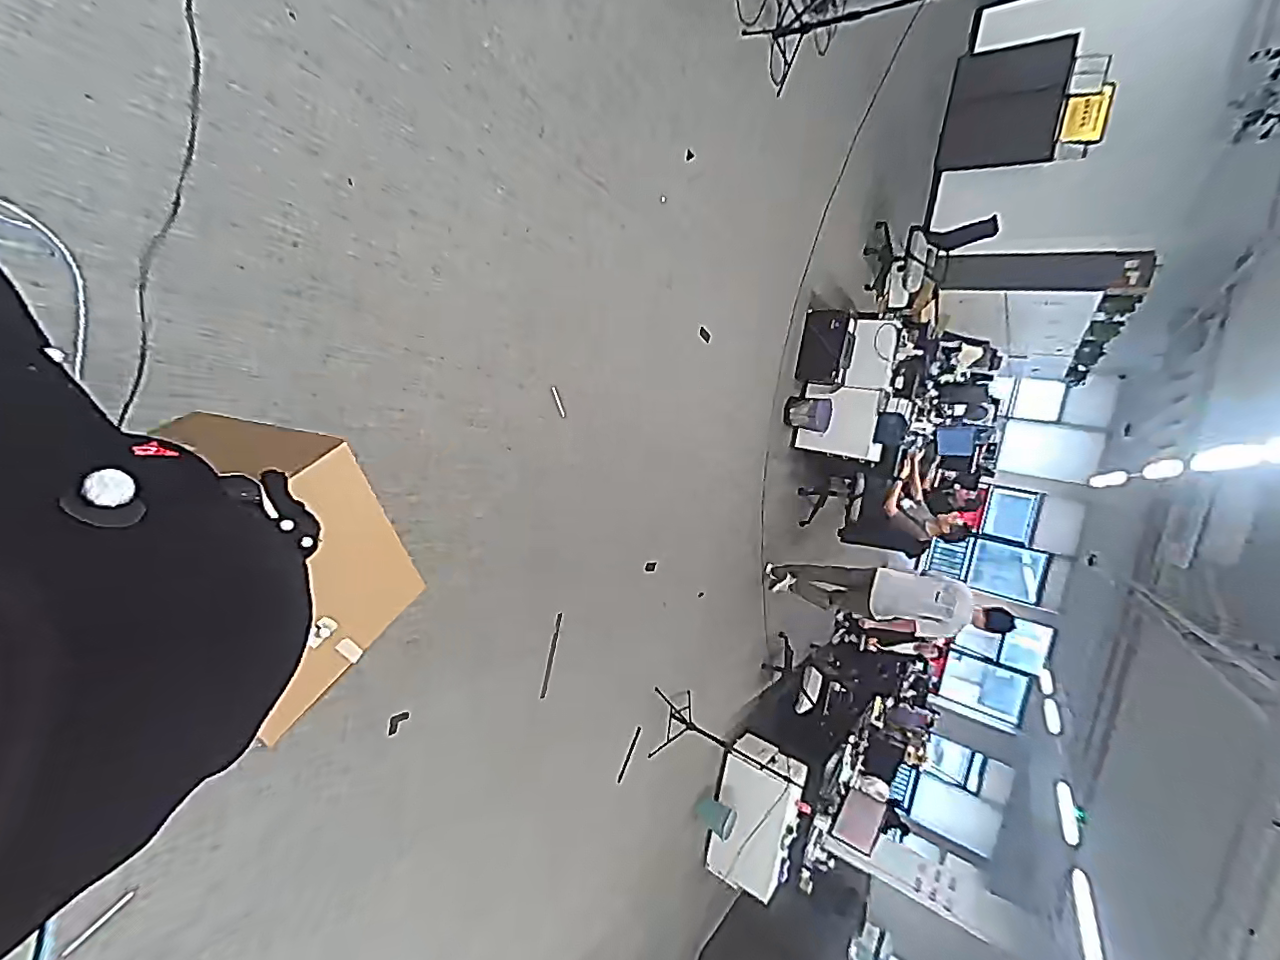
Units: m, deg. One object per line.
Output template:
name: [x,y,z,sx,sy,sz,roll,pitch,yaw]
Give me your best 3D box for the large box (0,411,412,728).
large box: [-0.657,0.117,0.845,0.320,0.408,0.320,-54,144,-43]
